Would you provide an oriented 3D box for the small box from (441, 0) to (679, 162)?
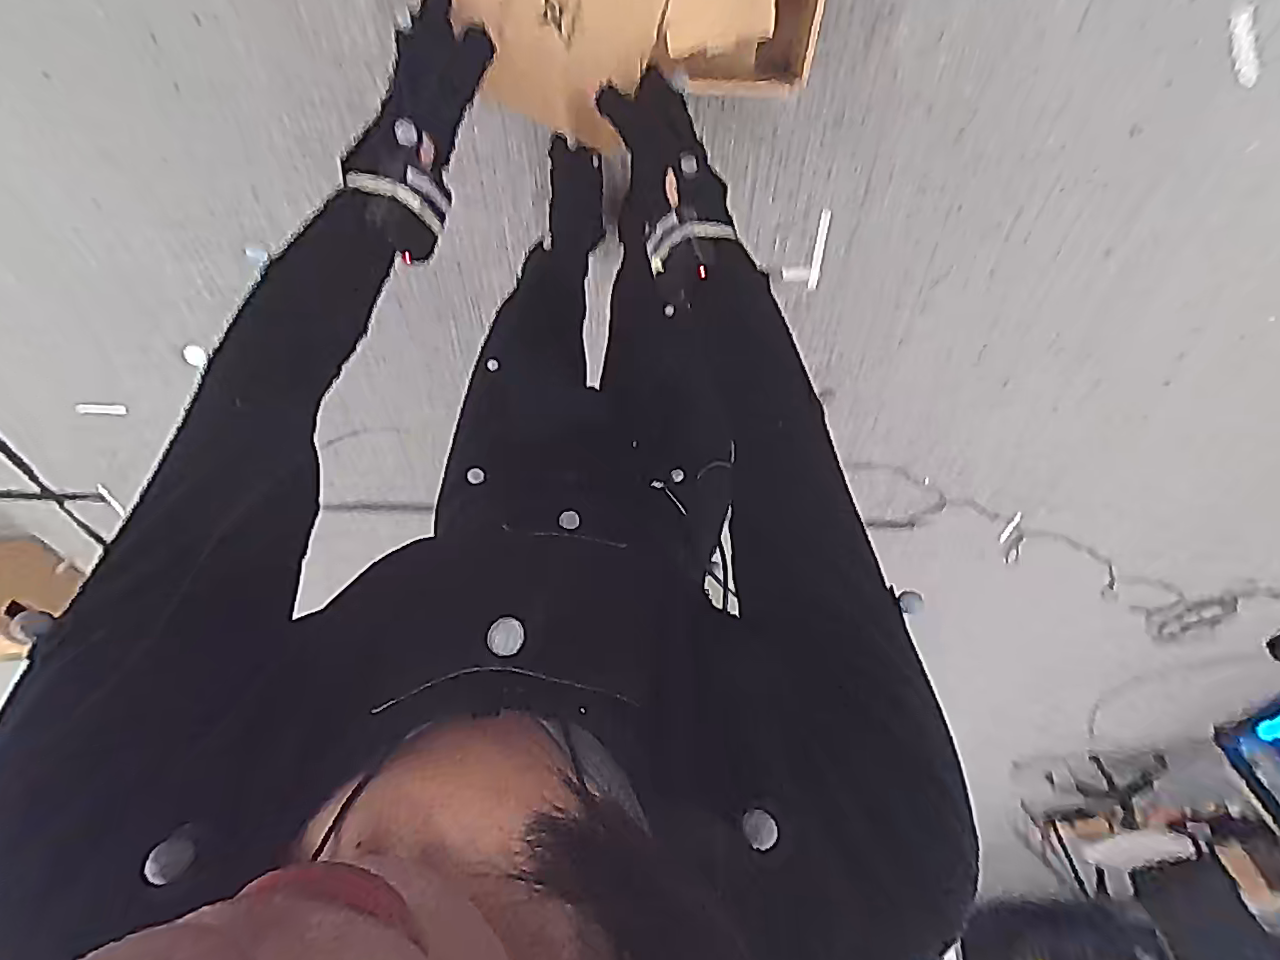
[{"bbox_3d":[-0.073,-0.441,0.523,0.179,0.176,0.168,15,124,-17],"label":"small box"}]
